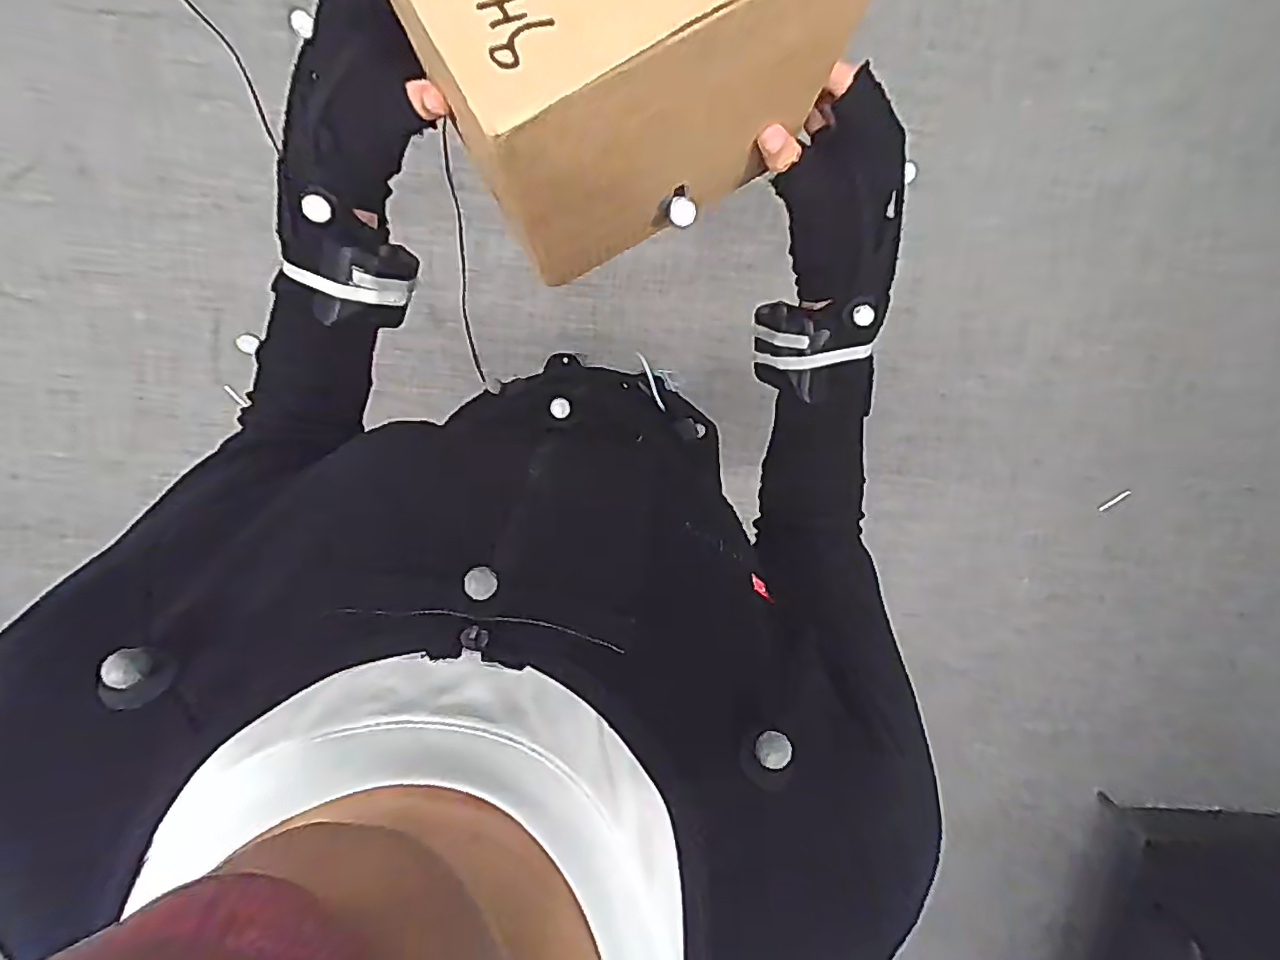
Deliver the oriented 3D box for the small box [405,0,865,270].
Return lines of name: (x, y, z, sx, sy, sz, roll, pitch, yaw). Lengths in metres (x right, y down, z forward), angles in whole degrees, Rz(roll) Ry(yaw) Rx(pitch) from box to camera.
small box: (-0.017, -0.240, 0.271, 0.179, 0.176, 0.168, -29, 93, -1)
